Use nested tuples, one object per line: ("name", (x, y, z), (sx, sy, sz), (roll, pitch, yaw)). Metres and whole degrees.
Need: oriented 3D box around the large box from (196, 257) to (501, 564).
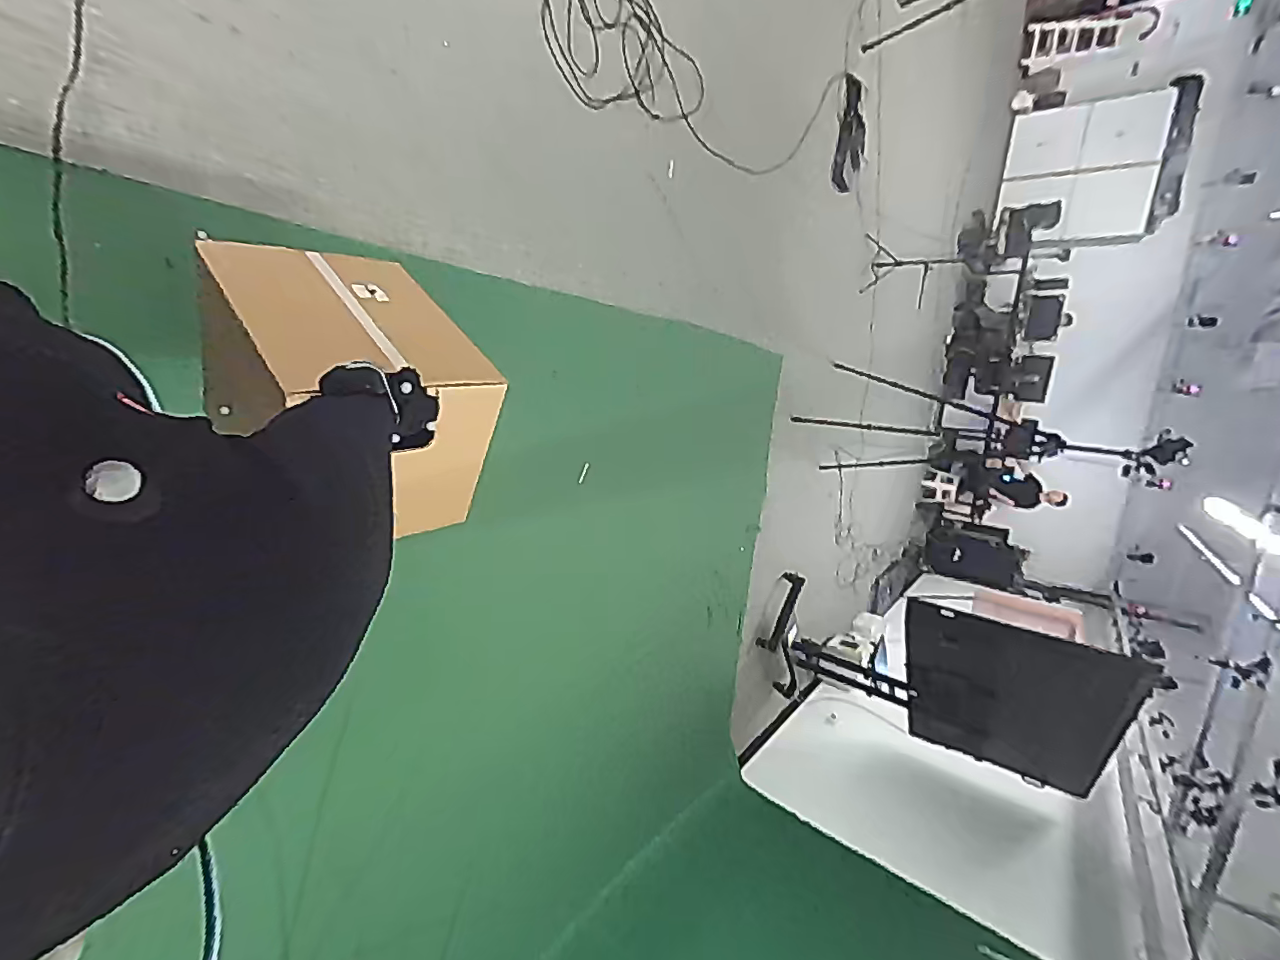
("large box", (-0.506, -0.130, 0.928), (0.320, 0.408, 0.320), (-13, 140, -47))
